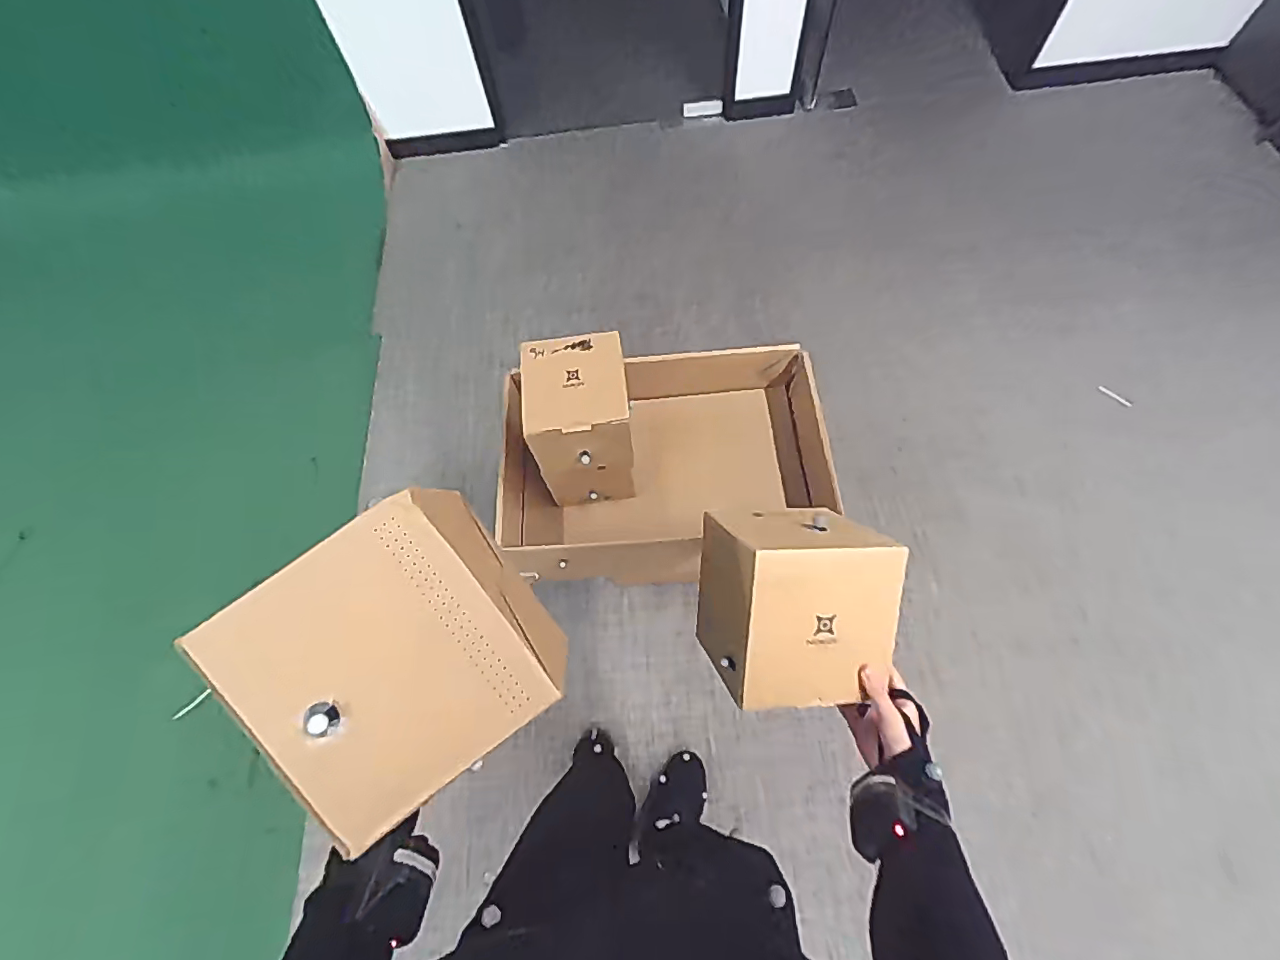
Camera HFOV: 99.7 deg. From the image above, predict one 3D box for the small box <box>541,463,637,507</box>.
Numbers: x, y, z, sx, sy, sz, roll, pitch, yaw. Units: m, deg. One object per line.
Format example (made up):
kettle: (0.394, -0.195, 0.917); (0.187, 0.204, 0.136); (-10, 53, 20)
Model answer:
small box: (-0.100, -0.064, 1.072); (0.168, 0.176, 0.179); (-8, 66, 1)

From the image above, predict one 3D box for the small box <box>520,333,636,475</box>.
small box: (-0.100, -0.118, 0.916); (0.168, 0.176, 0.179); (-7, 66, 1)
